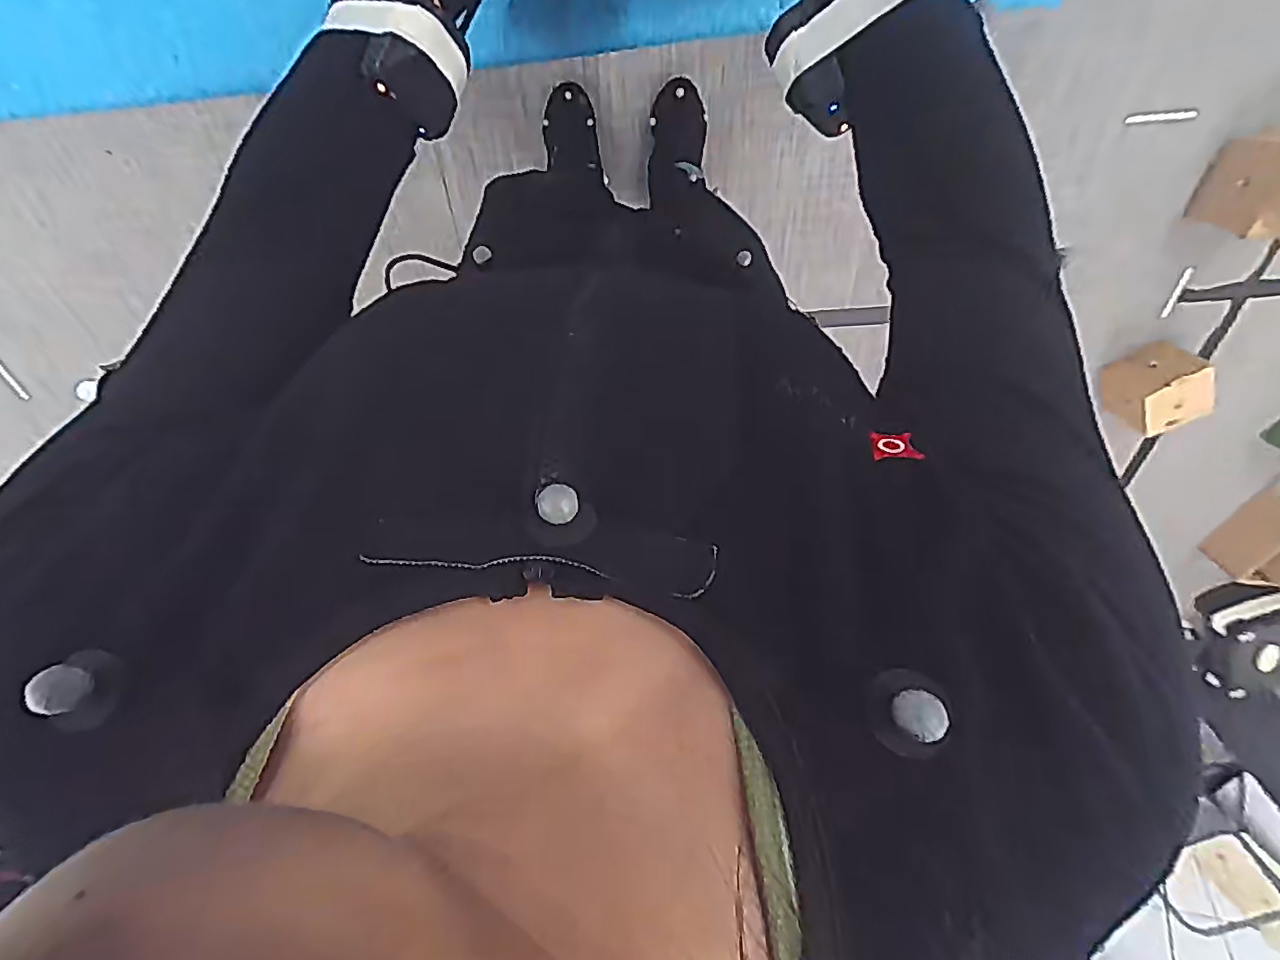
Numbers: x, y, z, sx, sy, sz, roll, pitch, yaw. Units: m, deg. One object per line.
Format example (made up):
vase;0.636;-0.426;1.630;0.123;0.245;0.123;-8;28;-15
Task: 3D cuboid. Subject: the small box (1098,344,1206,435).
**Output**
small box;1.468;-0.269;1.560;0.168;0.176;0.179;-28;126;20

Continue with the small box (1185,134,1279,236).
small box;1.413;-0.670;1.225;0.168;0.176;0.179;-4;129;-2

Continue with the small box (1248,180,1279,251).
small box;1.434;-0.565;1.095;0.168;0.176;0.179;25;123;-23
